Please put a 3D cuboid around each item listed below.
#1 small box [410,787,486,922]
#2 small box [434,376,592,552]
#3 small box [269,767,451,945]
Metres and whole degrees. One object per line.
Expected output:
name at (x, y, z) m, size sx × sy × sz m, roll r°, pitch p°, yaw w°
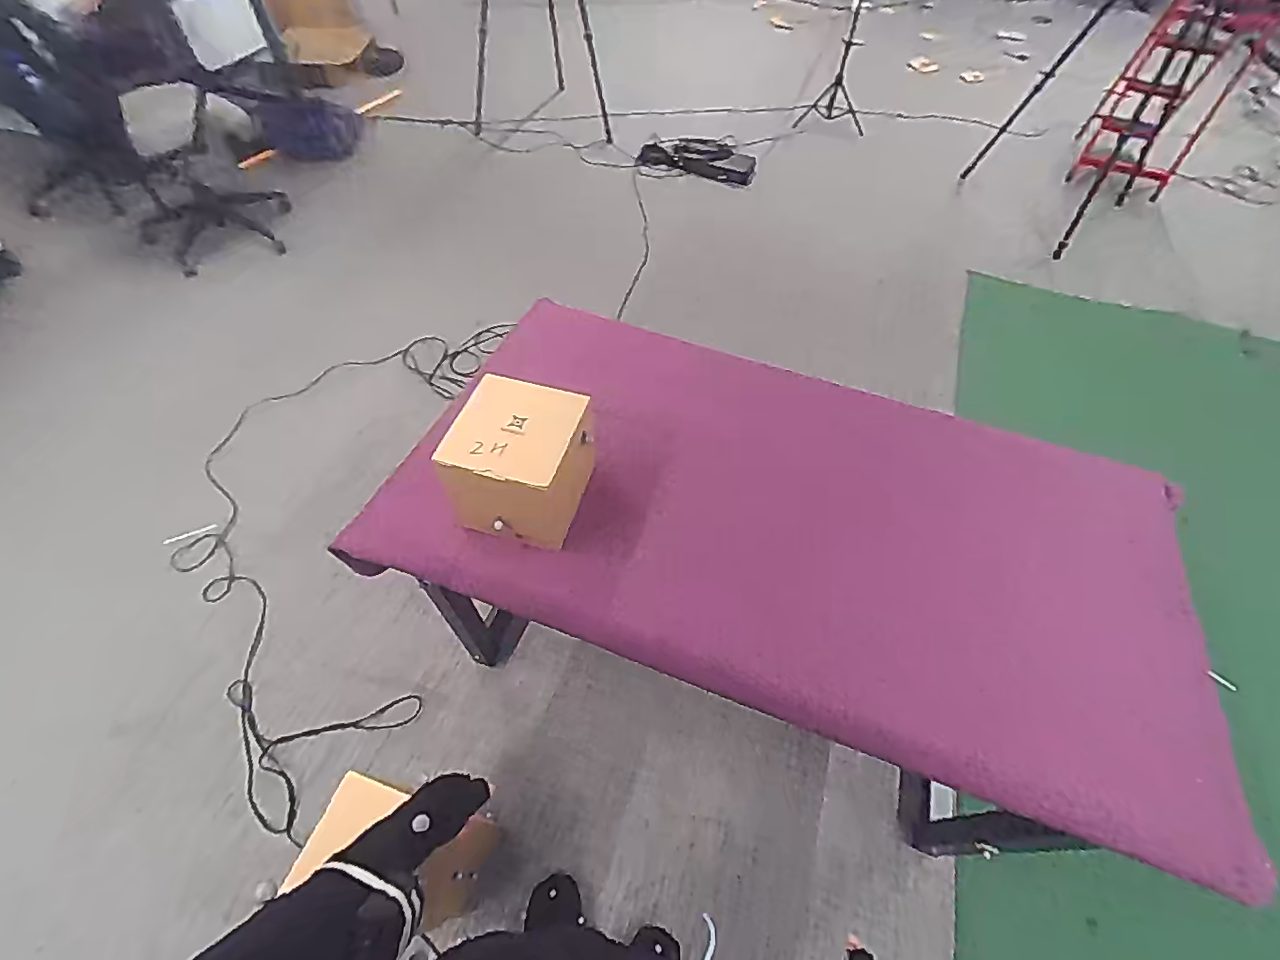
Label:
small box at (-0.439, 0.773, 1.127) m, size 0.168 × 0.176 × 0.179 m, roll 20°, pitch 57°, yaw 11°
small box at (-0.178, -0.022, 0.815) m, size 0.168 × 0.176 × 0.179 m, roll 15°, pitch 54°, yaw 7°
small box at (-0.423, 0.585, 0.858) m, size 0.168 × 0.176 × 0.179 m, roll 17°, pitch 58°, yaw 9°
